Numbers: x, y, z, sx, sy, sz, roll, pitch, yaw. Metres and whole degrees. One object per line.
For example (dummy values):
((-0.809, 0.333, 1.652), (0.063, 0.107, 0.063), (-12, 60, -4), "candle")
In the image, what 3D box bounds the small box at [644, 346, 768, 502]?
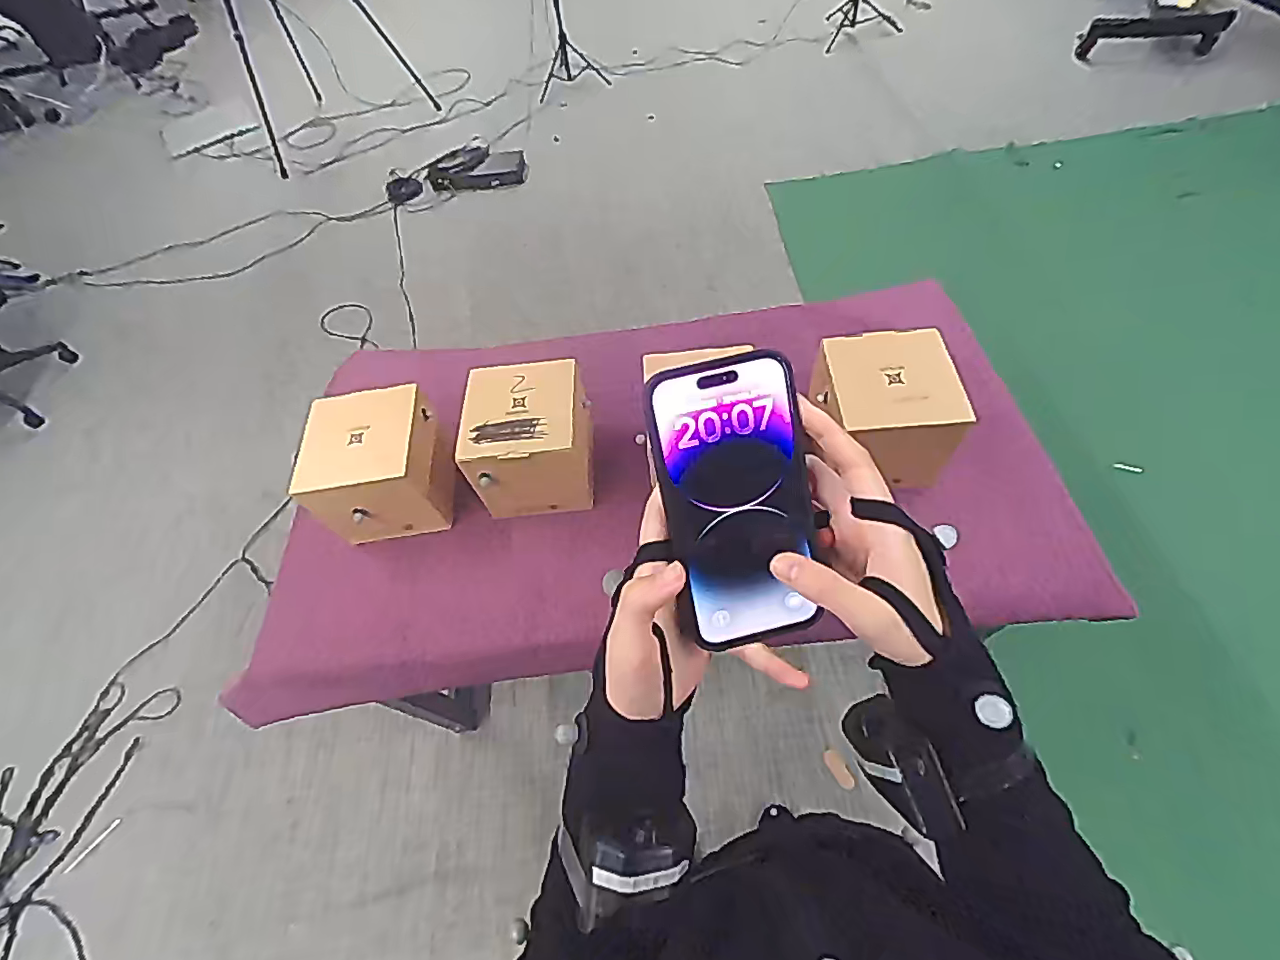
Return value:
((0.097, -0.076, 0.824), (0.168, 0.176, 0.179), (-4, 57, 4), "small box")

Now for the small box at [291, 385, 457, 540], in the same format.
((-0.400, -0.019, 0.850), (0.168, 0.176, 0.179), (-10, 56, 1), "small box")

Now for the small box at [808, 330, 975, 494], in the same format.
((0.356, -0.097, 0.808), (0.168, 0.176, 0.179), (-4, 57, 6), "small box")
